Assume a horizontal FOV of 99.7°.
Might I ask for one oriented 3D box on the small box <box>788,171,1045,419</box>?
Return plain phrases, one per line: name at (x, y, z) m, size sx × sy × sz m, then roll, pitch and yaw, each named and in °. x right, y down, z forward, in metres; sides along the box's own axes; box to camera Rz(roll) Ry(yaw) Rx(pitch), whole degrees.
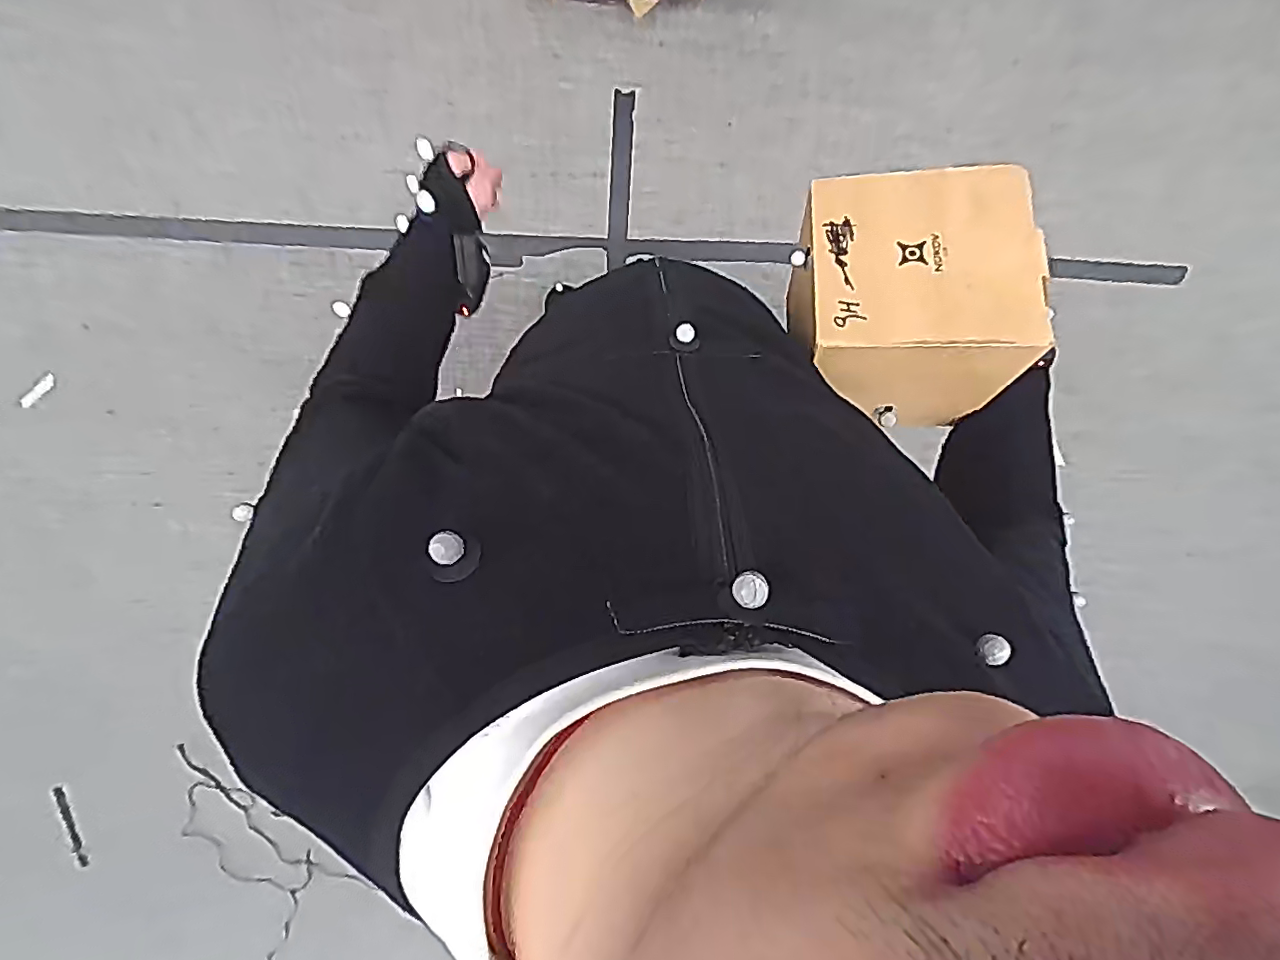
small box at (0.246, -0.166, 0.529) m, size 0.179 × 0.176 × 0.168 m, roll 1°, pitch 74°, yaw 8°
